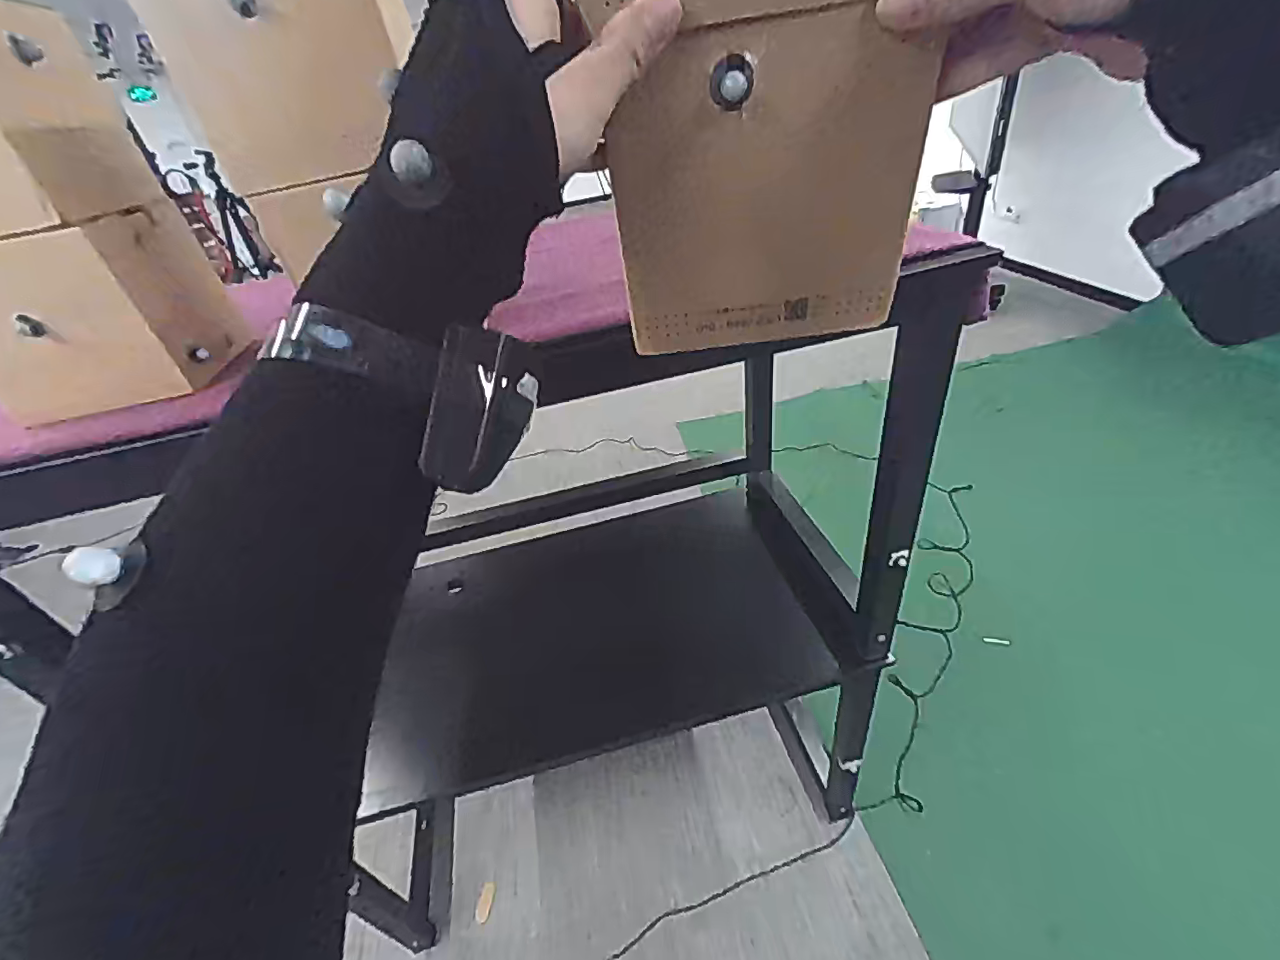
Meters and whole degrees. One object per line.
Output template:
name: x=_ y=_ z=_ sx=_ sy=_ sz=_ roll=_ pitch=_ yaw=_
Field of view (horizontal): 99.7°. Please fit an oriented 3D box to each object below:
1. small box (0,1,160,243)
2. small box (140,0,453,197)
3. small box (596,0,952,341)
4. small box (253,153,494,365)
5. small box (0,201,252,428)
small box: x=-0.598 y=-0.311 z=0.489 sx=0.168 sy=0.176 sz=0.179 roll=-14 pitch=36 yaw=-4
small box: x=-0.296 y=-0.374 z=0.498 sx=0.179 sy=0.176 sz=0.168 roll=-14 pitch=36 yaw=-2
small box: x=0.070 y=-0.214 z=0.362 sx=0.168 sy=0.176 sz=0.179 roll=-6 pitch=44 yaw=5
small box: x=-0.268 y=-0.247 z=0.599 sx=0.168 sy=0.176 sz=0.179 roll=-13 pitch=36 yaw=-2
small box: x=-0.568 y=-0.178 z=0.577 sx=0.179 sy=0.176 sz=0.168 roll=-14 pitch=36 yaw=-4
